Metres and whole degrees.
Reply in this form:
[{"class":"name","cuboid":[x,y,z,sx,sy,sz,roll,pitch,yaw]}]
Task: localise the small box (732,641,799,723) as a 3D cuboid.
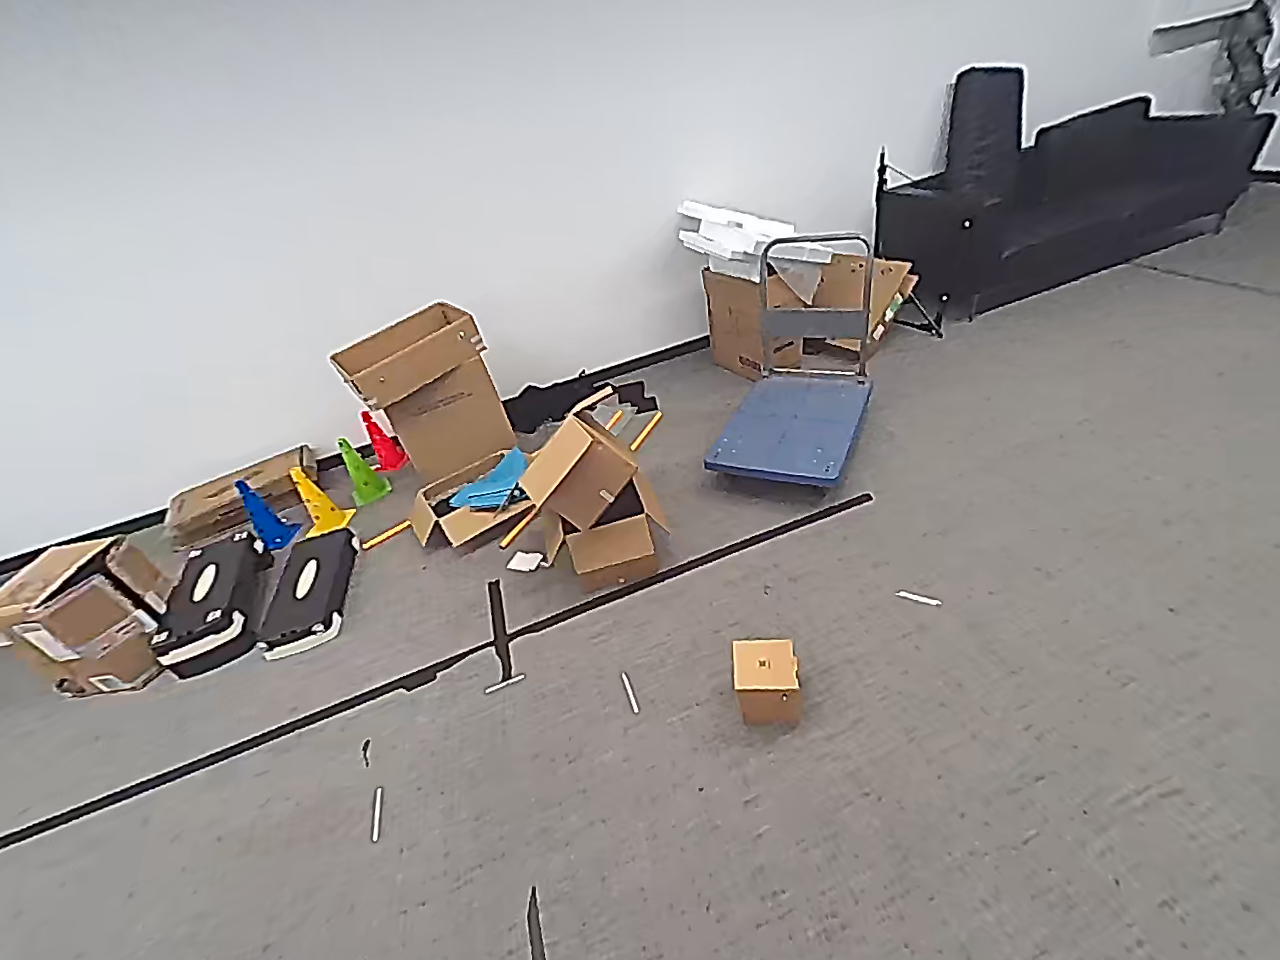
[{"class":"small box","cuboid":[0.368,0.597,1.592,0.179,0.176,0.168,-5,35,11]}]
